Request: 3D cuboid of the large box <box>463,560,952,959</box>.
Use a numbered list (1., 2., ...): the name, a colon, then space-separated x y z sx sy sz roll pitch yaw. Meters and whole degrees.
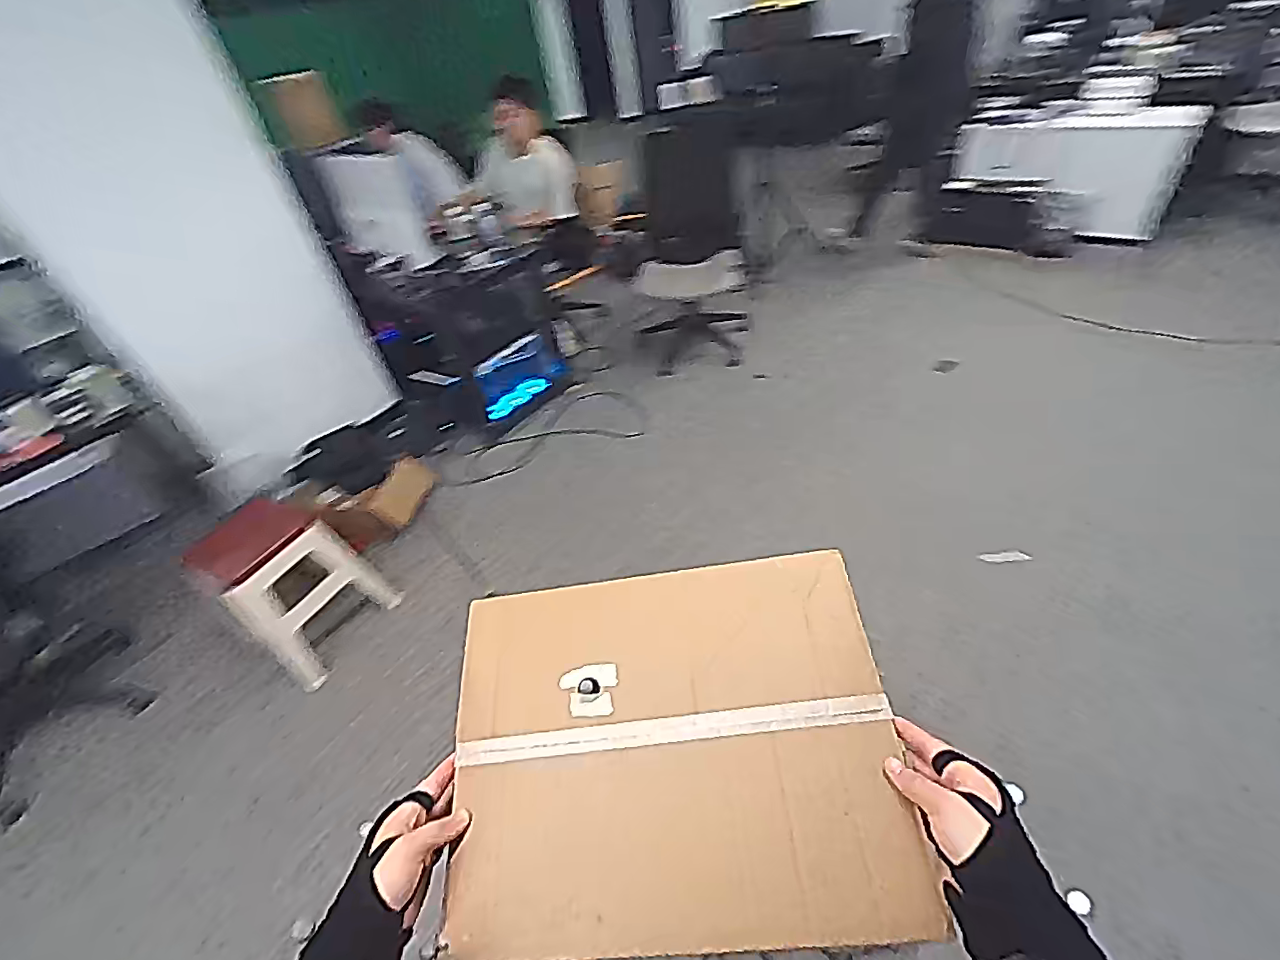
1. large box: 0.064 0.321 0.633 0.408 0.320 0.320 -9 56 8
